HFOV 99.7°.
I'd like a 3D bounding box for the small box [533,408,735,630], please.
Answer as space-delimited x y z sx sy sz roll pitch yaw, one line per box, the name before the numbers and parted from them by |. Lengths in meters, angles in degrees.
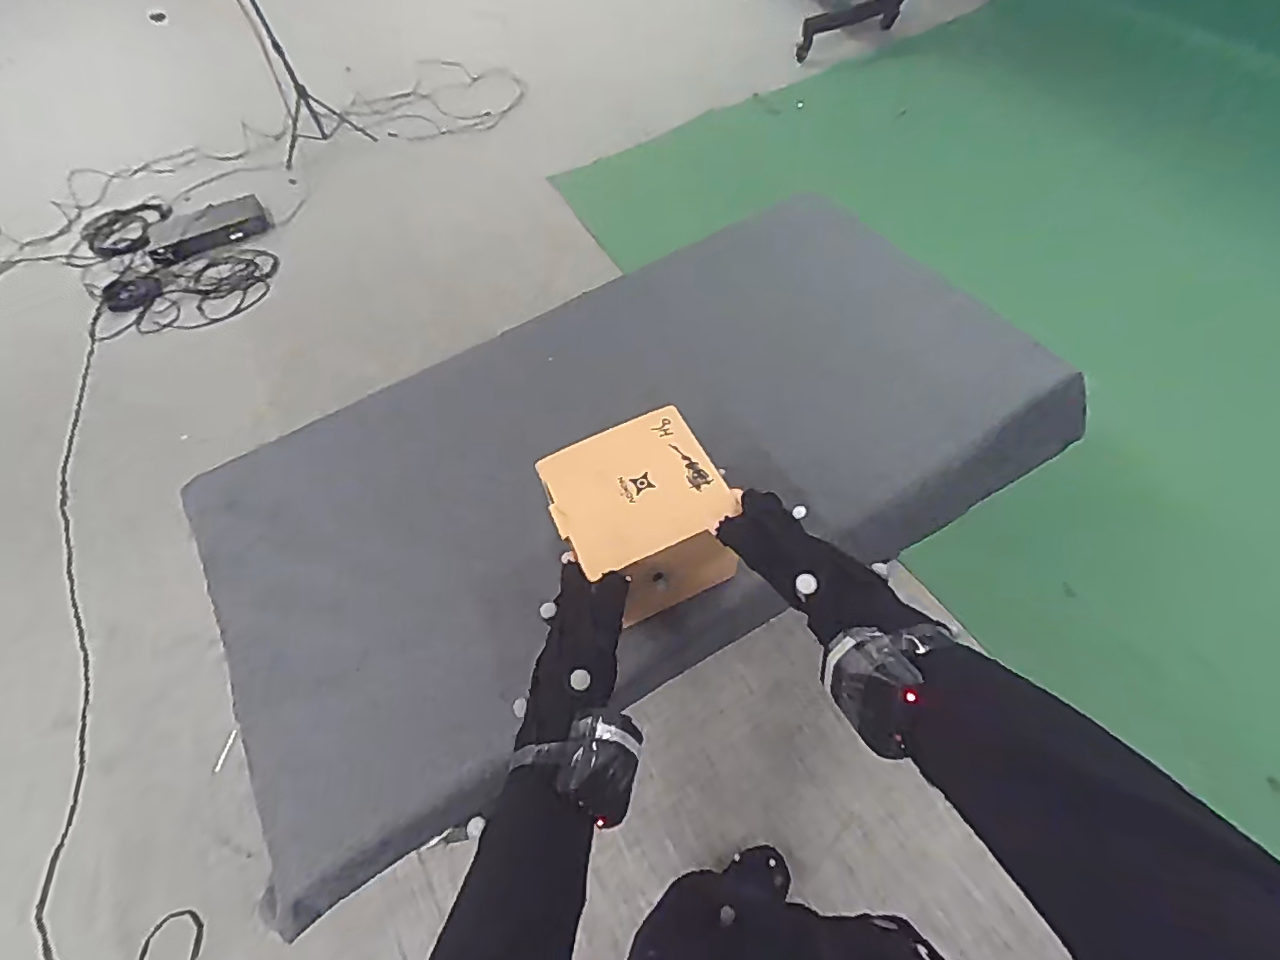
small box | -0.001 0.053 0.640 0.179 0.176 0.168 -24 58 -7
